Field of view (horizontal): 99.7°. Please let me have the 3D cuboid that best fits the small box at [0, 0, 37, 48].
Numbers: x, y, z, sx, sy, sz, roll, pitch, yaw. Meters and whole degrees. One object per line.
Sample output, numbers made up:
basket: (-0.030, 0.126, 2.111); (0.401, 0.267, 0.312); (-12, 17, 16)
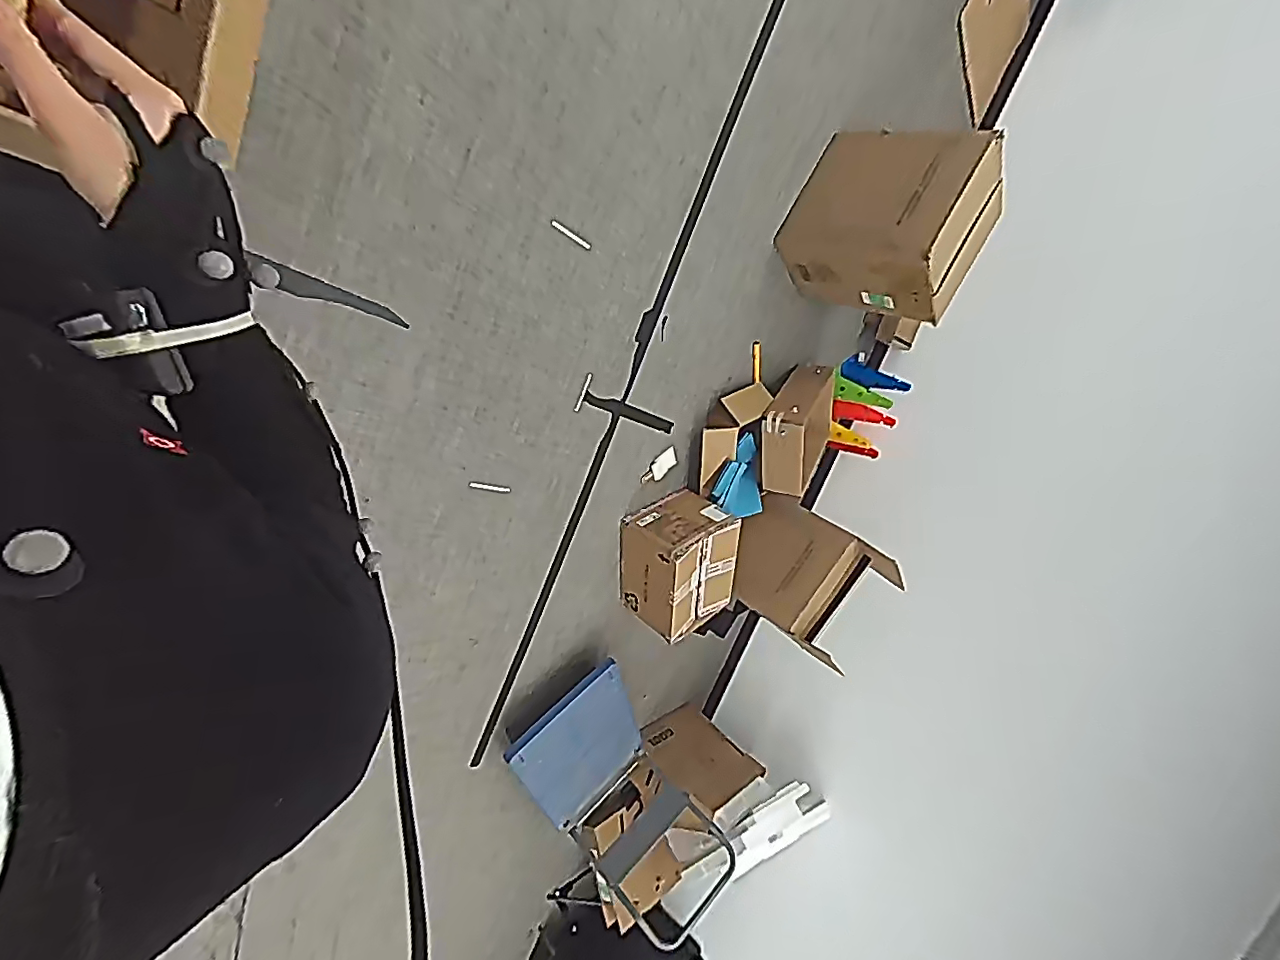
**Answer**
small box: (-0.373, -0.328, 0.228); (0.168, 0.176, 0.179); (6, 113, -48)
